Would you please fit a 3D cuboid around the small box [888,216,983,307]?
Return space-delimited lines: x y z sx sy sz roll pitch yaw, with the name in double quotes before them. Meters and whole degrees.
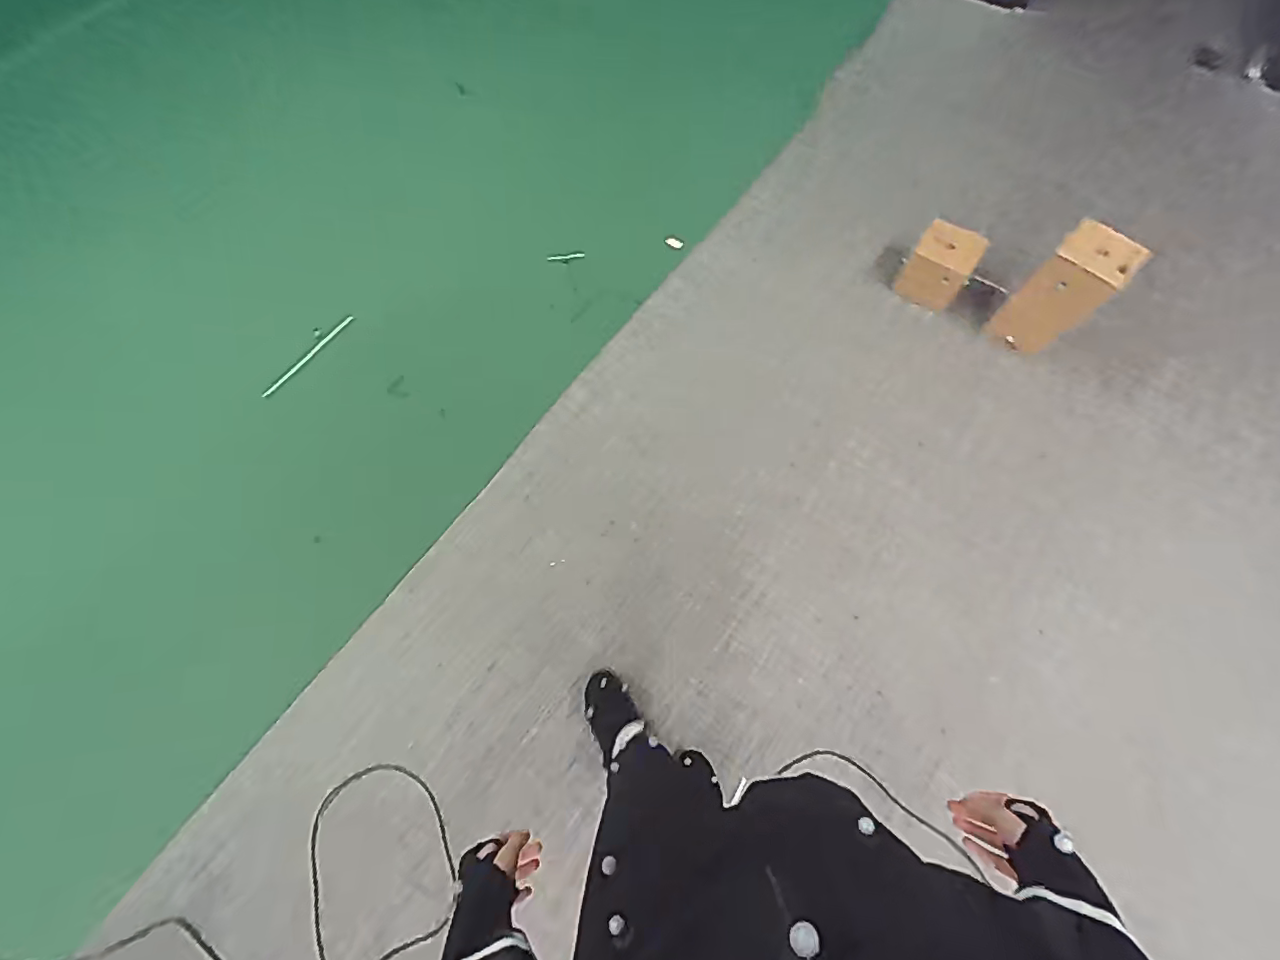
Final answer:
"small box" 0.913 -0.672 1.684 0.179 0.176 0.168 32 73 15

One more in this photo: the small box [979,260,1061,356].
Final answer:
"small box" 1.158 -0.508 1.606 0.168 0.176 0.179 42 76 18

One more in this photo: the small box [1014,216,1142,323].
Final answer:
"small box" 1.160 -0.558 1.448 0.179 0.176 0.168 42 76 18
